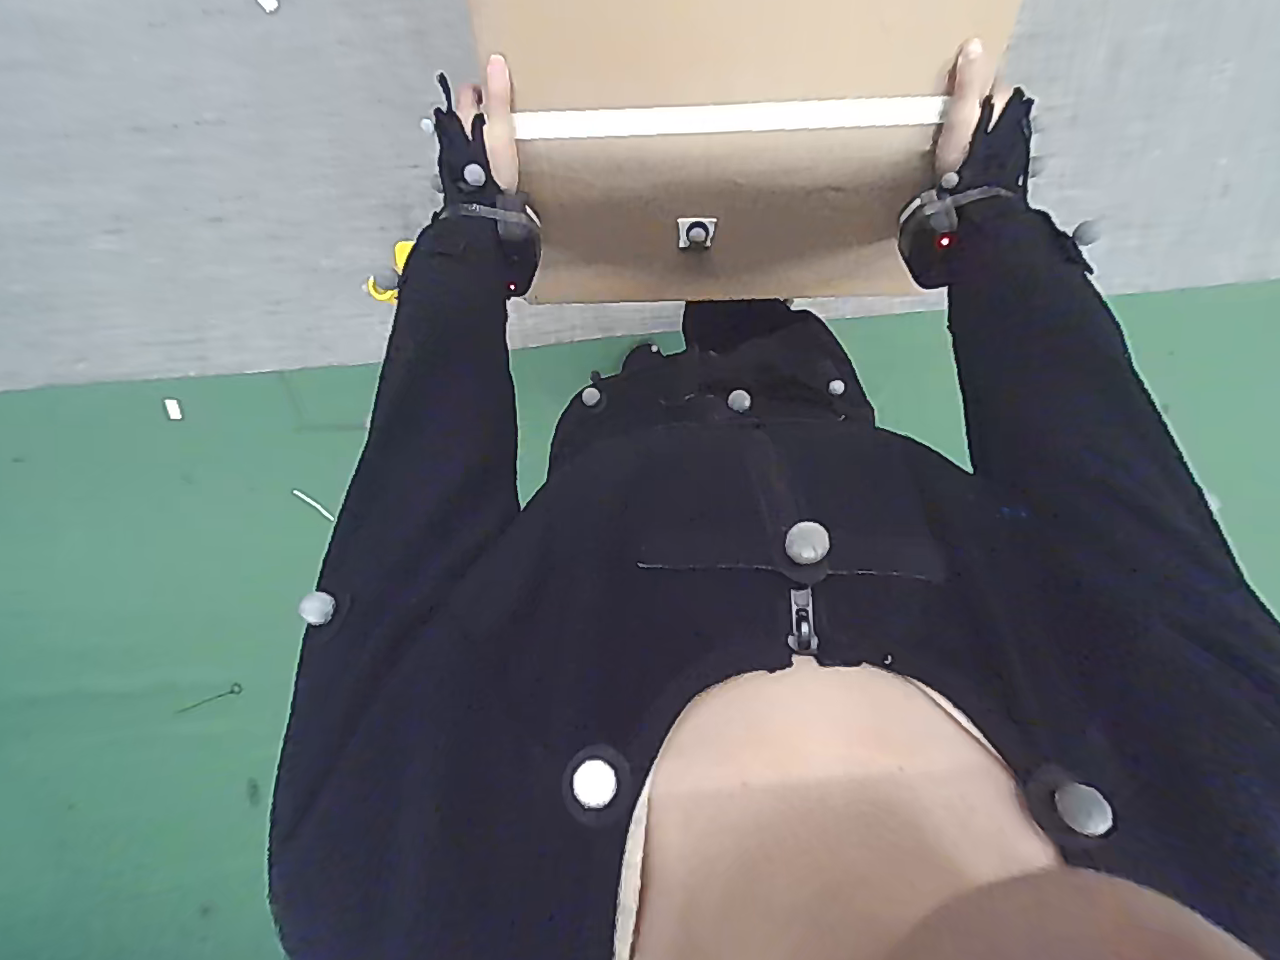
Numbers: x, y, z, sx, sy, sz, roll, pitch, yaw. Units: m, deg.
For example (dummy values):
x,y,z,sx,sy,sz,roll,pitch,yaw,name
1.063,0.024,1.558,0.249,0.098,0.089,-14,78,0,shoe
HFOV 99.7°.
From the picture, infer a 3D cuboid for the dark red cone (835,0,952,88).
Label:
x,y,z,sx,sy,sz,roll,pitch,yaw,name
0.476,-0.817,0.876,0.202,0.394,0.201,-12,112,3,dark red cone
